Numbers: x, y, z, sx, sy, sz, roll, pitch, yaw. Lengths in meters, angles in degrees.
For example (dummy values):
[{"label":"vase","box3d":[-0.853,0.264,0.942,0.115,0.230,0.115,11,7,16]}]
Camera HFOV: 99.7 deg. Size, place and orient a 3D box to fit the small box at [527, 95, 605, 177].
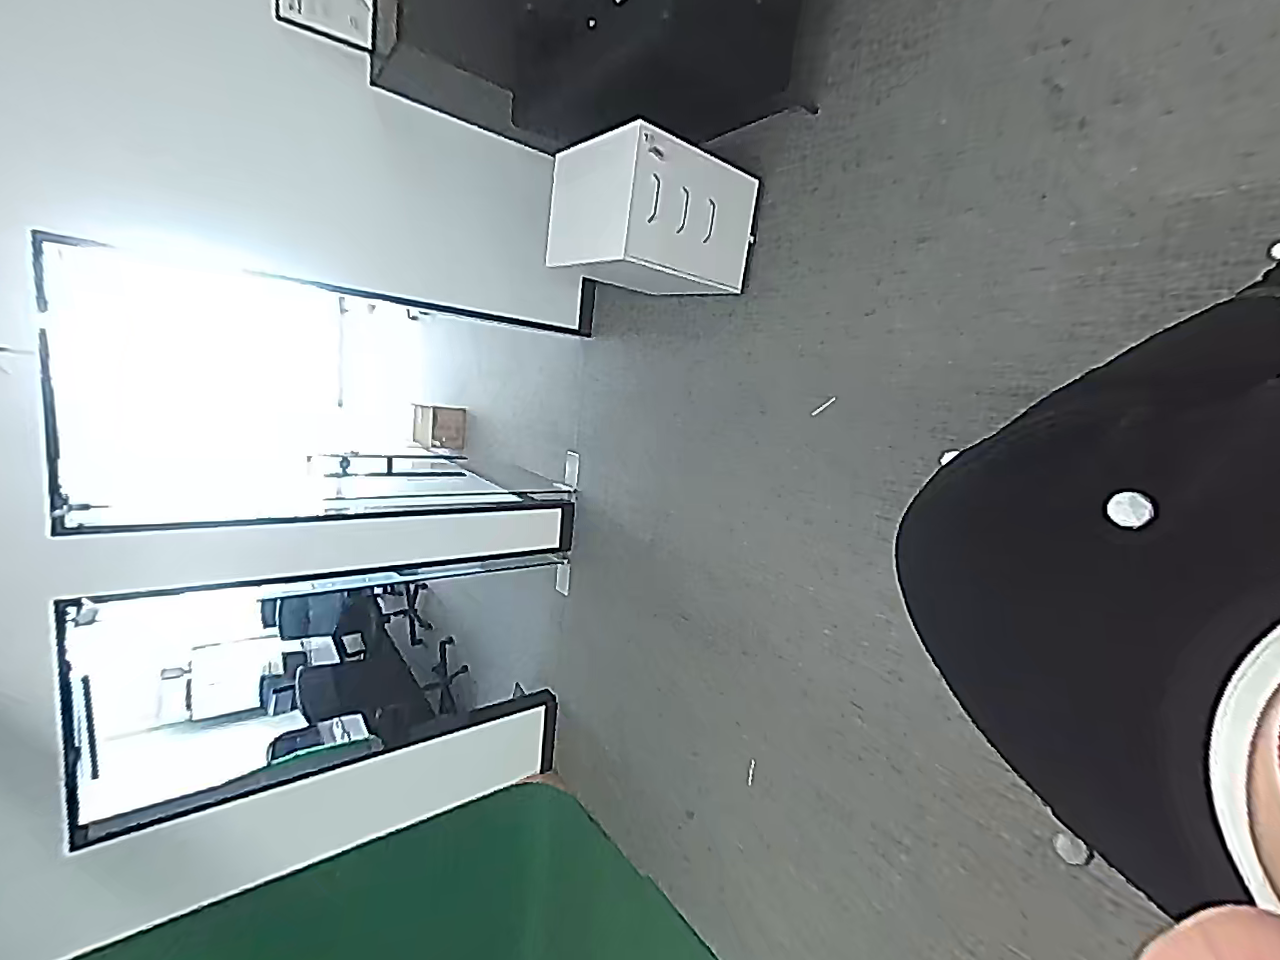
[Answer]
[{"label":"small box","box3d":[-0.252,-1.187,1.869,0.179,0.176,0.168,-39,19,34]}]
